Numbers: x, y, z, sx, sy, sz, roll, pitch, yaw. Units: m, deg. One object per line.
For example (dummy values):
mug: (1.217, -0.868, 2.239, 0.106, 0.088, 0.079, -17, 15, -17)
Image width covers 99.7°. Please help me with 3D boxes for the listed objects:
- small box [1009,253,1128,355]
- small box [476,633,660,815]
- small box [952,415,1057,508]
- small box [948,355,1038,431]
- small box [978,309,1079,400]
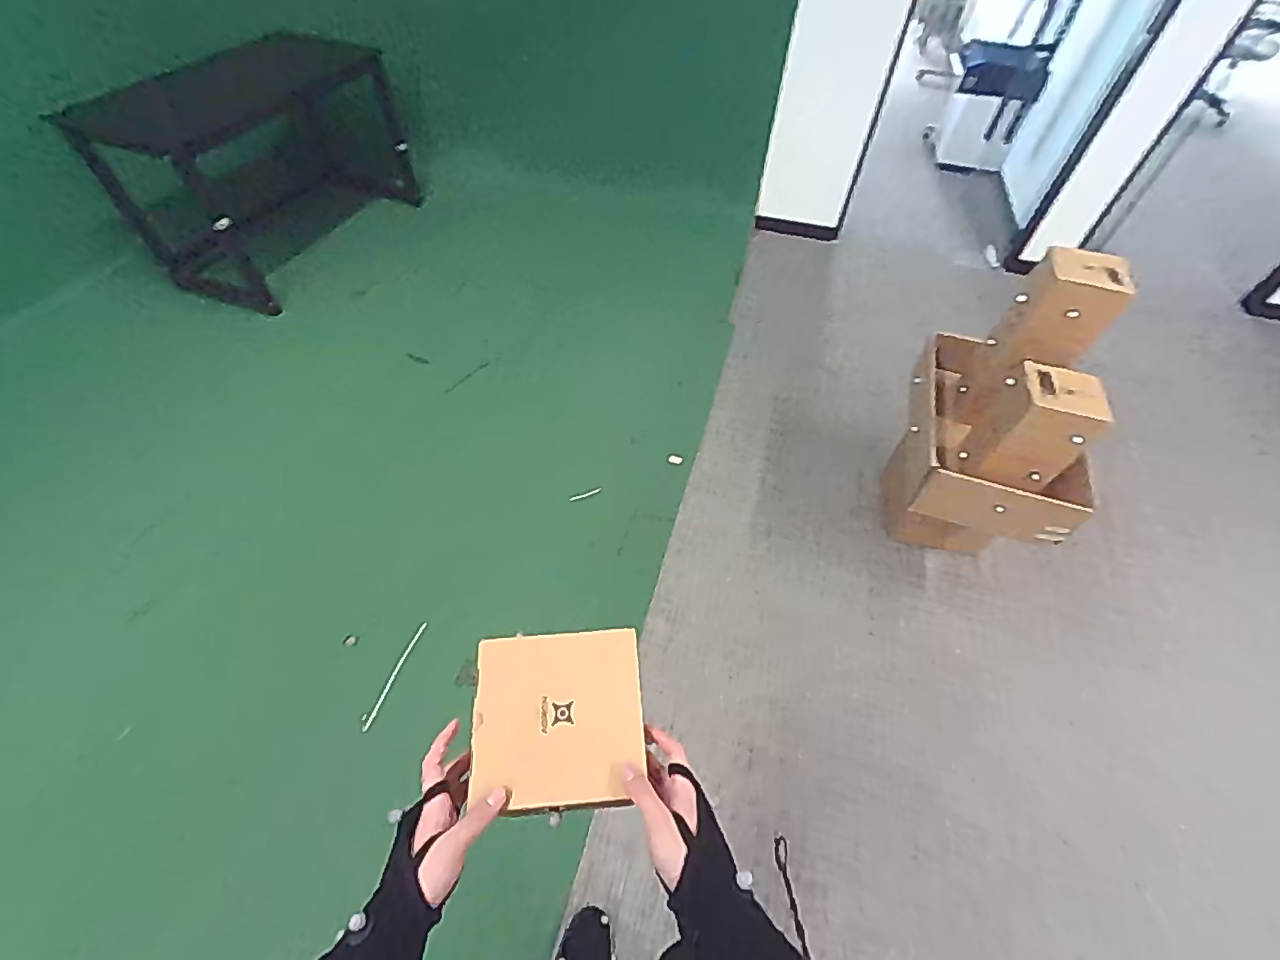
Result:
small box: (1.091, -0.448, 1.392, 0.179, 0.176, 0.168, 17, 55, 10)
small box: (-0.075, 0.283, 0.620, 0.179, 0.176, 0.168, -3, 57, -3)
small box: (0.993, -0.046, 1.488, 0.179, 0.176, 0.168, 16, 52, 8)
small box: (1.070, -0.250, 1.654, 0.179, 0.176, 0.168, 20, 55, 10)
small box: (1.082, -0.349, 1.524, 0.179, 0.176, 0.168, 18, 55, 10)
